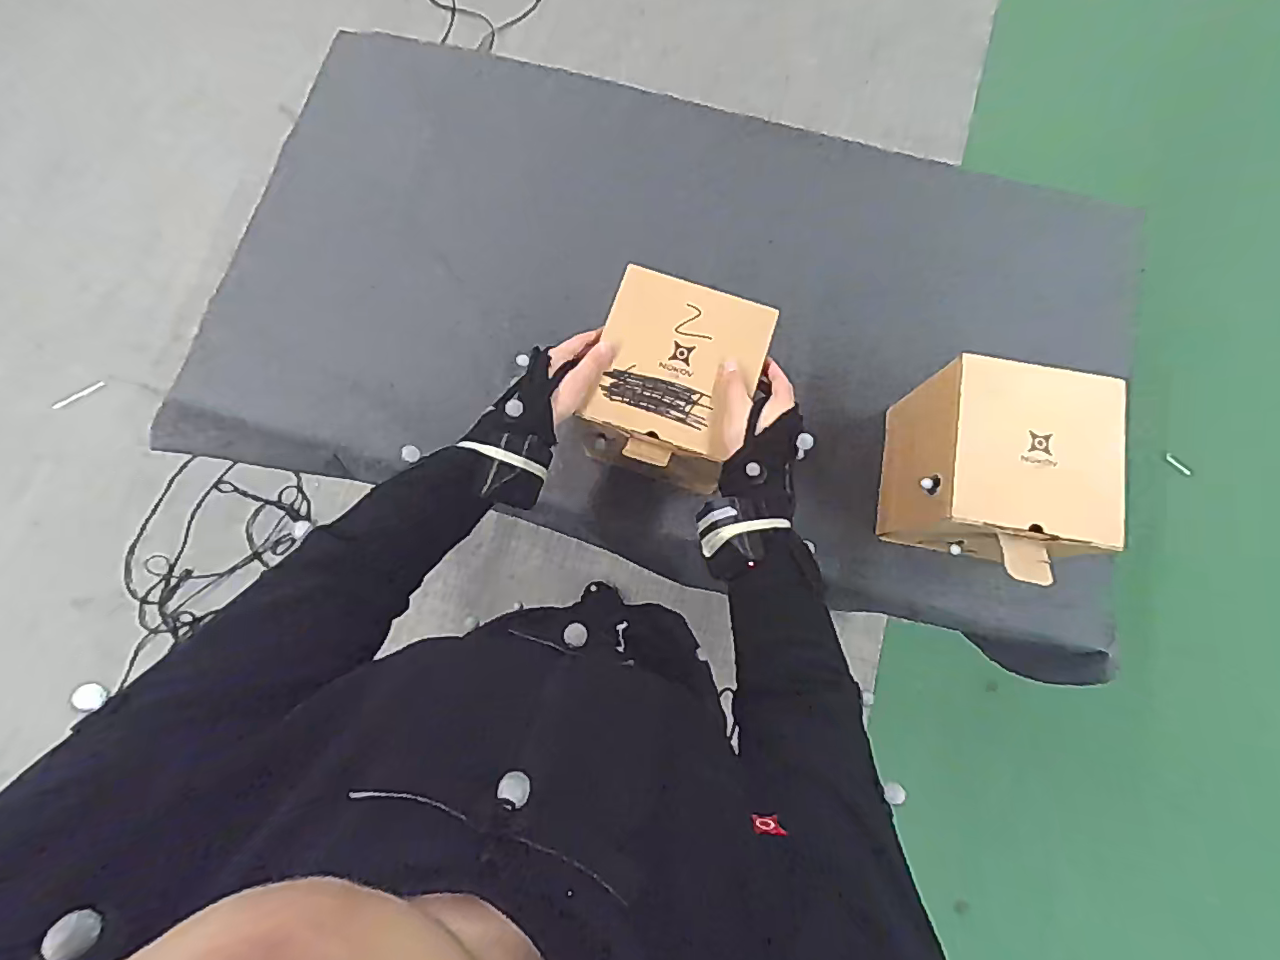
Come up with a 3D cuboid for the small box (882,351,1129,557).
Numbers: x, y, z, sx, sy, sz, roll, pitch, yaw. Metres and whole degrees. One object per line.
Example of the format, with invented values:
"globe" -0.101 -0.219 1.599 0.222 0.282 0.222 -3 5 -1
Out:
"small box" 0.391 -0.017 0.605 0.168 0.176 0.179 10 79 2
